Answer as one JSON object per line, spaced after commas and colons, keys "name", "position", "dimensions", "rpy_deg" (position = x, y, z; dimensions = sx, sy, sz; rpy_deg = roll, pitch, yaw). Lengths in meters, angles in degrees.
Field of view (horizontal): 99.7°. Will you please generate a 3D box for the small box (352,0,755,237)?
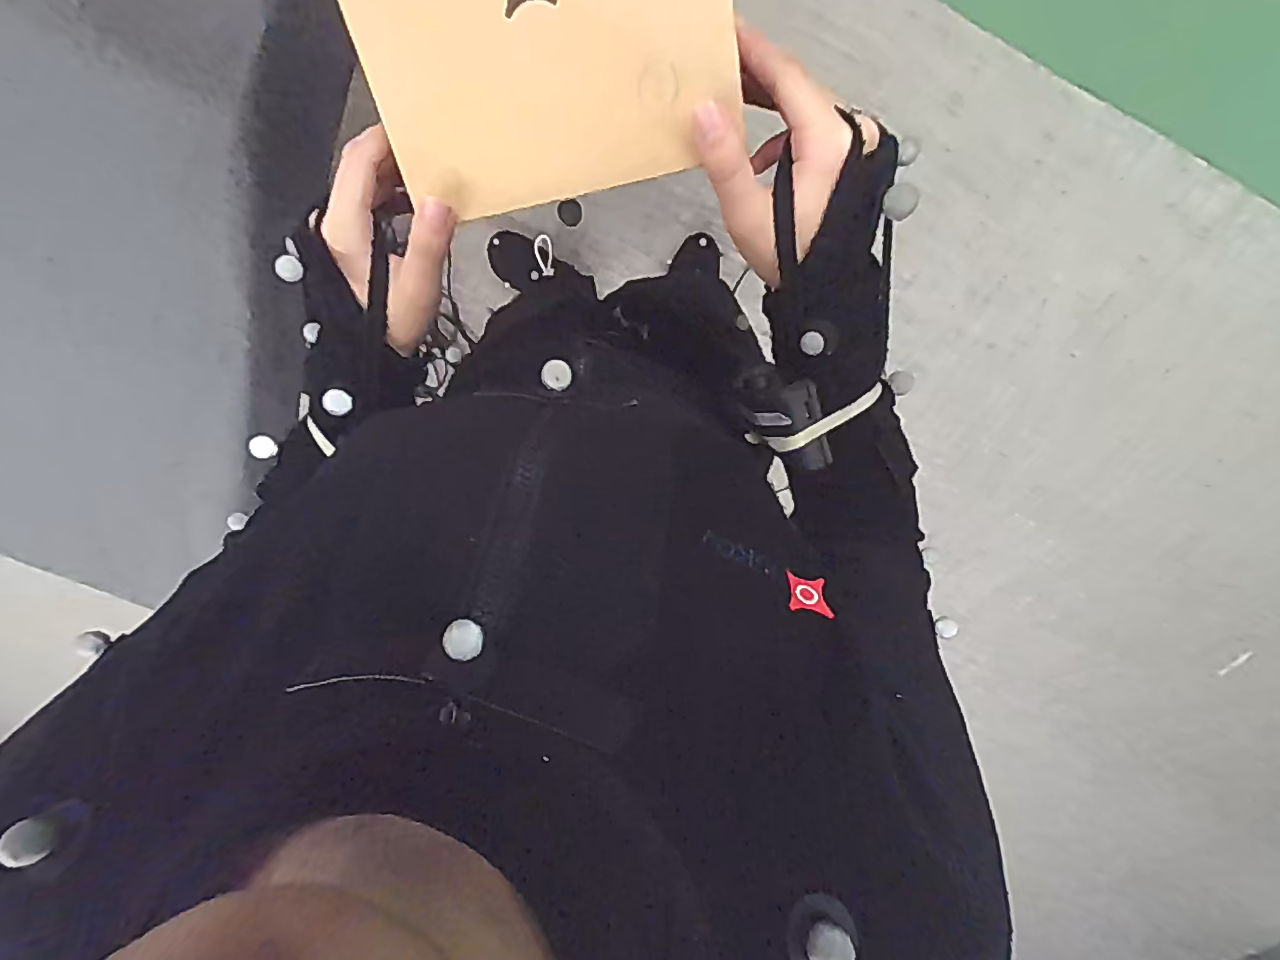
{"name": "small box", "position": [-0.032, -0.247, 0.287], "dimensions": [0.168, 0.176, 0.179], "rpy_deg": [-7, 119, 11]}
